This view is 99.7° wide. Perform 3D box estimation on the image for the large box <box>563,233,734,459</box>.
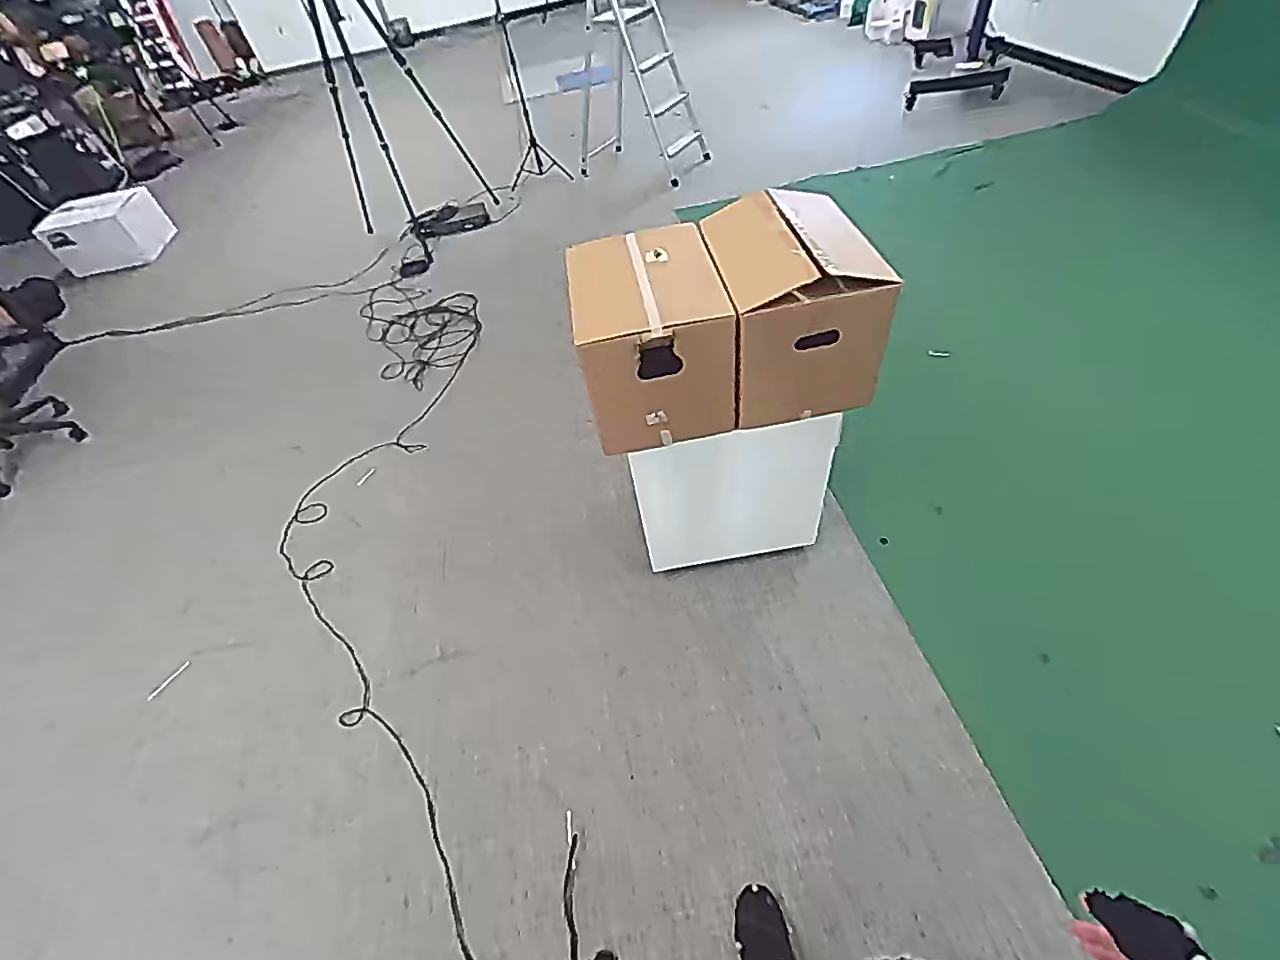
[{"bbox_3d":[0.018,-0.315,1.262,0.320,0.320,0.408,-11,48,1],"label":"large box"}]
